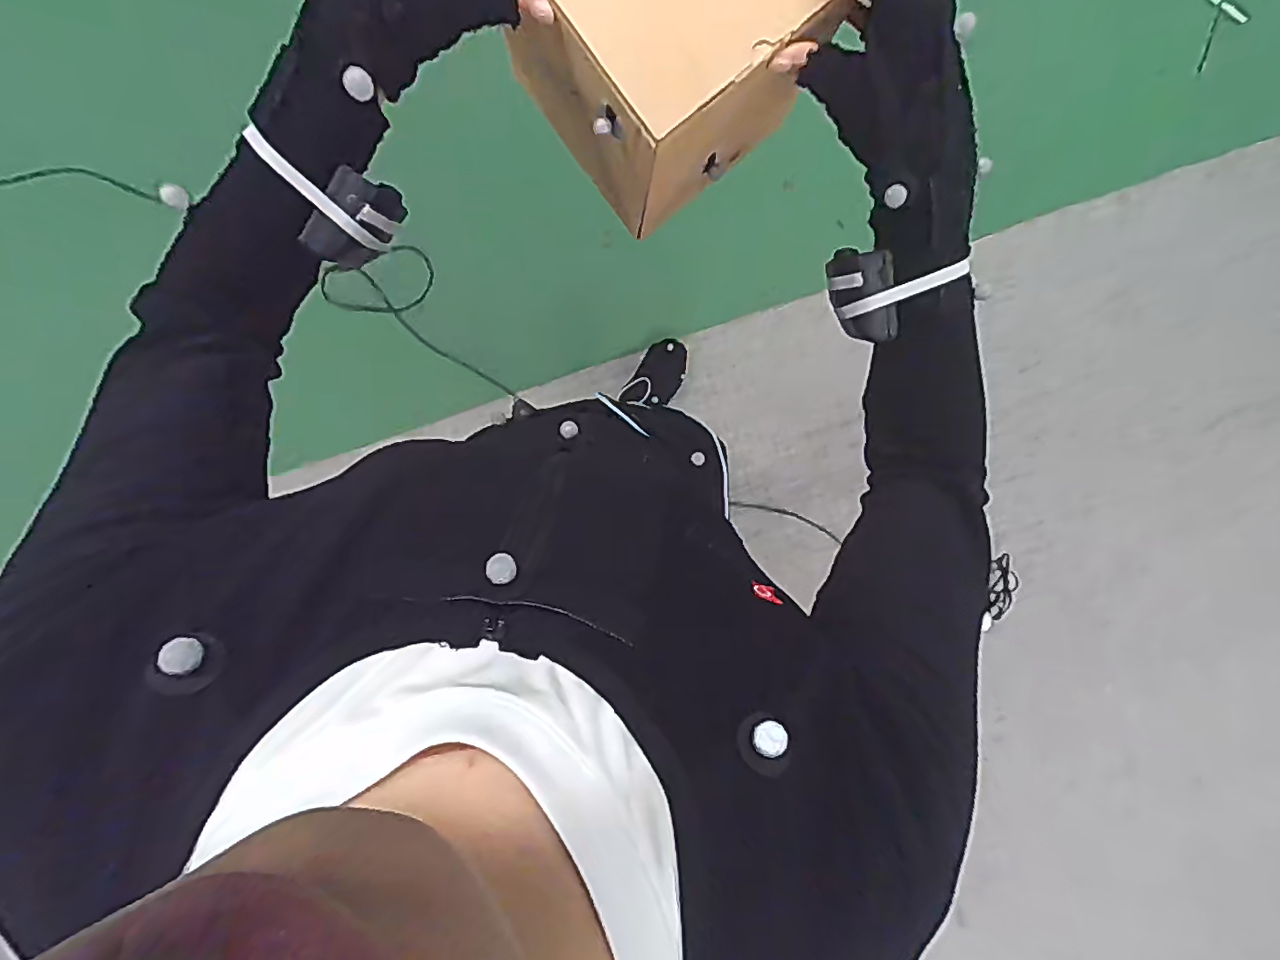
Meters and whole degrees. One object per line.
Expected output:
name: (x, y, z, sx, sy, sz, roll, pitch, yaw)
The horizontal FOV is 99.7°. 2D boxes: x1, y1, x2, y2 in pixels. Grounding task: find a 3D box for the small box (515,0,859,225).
small box: (0.020, -0.330, 0.398, 0.168, 0.176, 0.179, -39, 98, 0)
